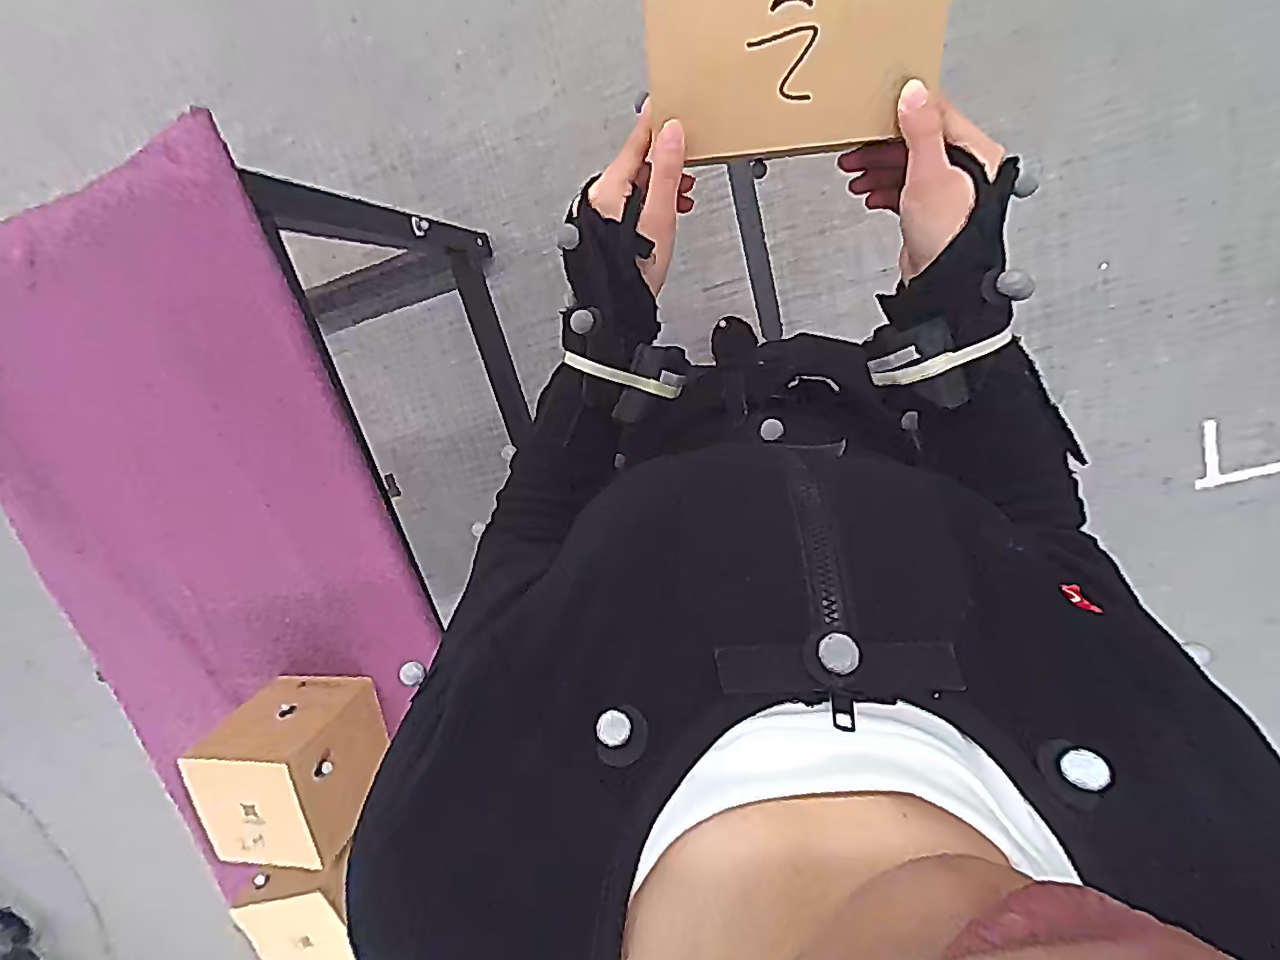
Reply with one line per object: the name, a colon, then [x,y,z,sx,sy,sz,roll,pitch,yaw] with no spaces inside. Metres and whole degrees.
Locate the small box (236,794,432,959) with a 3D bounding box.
small box: [-0.451,0.622,0.835,0.179,0.176,0.168,-21,103,15]

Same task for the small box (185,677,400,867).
small box: [-0.476,0.401,0.769,0.168,0.176,0.179,-3,107,12]
